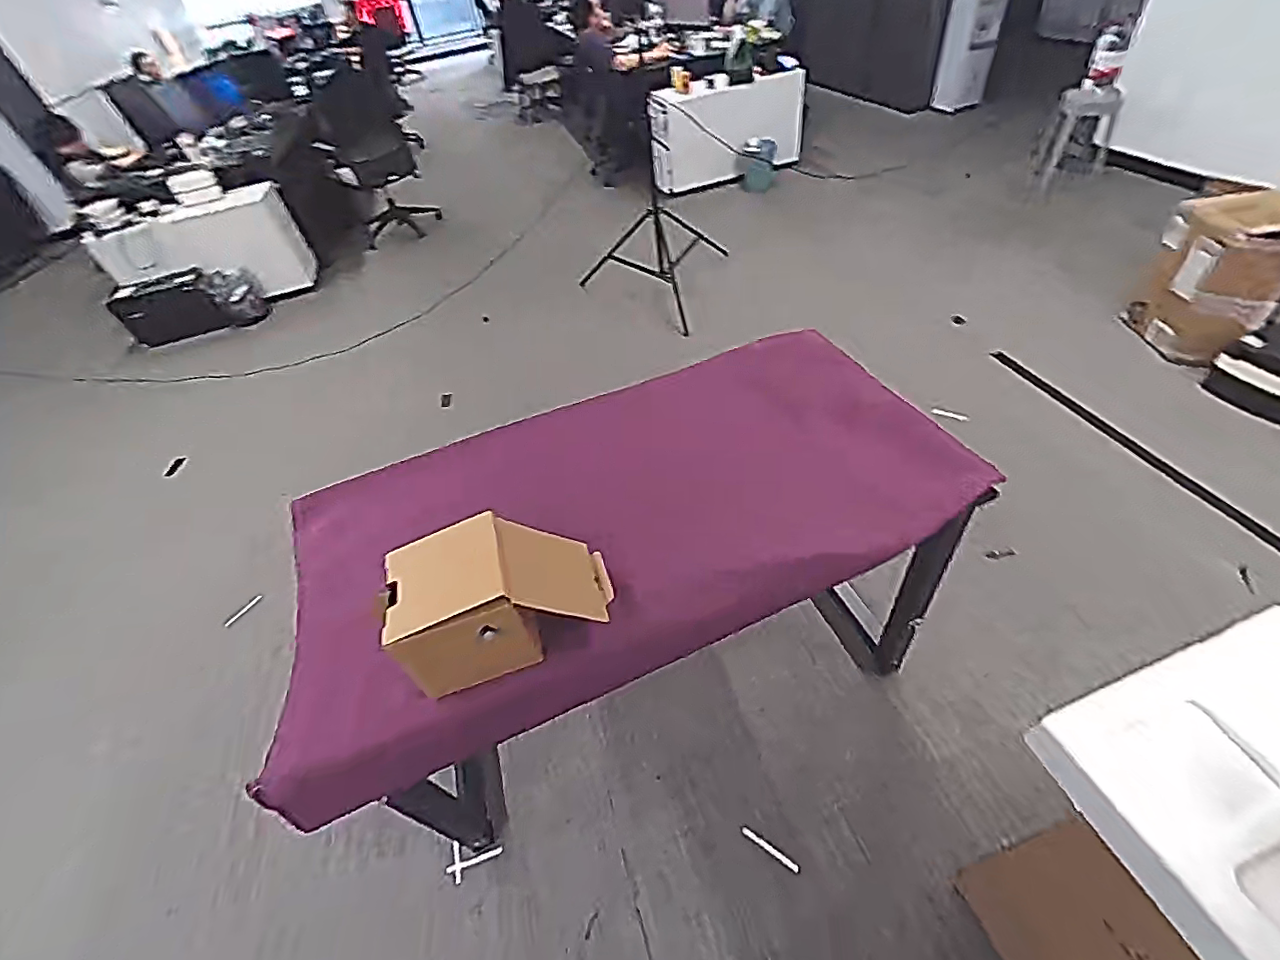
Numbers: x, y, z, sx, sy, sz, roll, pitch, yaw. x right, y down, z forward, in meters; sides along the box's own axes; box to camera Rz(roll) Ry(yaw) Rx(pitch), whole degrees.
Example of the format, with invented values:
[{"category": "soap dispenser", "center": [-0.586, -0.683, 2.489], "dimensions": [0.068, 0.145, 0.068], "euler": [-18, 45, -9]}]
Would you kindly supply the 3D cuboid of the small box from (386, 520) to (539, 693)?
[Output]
[{"category": "small box", "center": [-0.263, 0.195, 0.830], "dimensions": [0.179, 0.176, 0.168], "euler": [-18, 44, -6]}]
